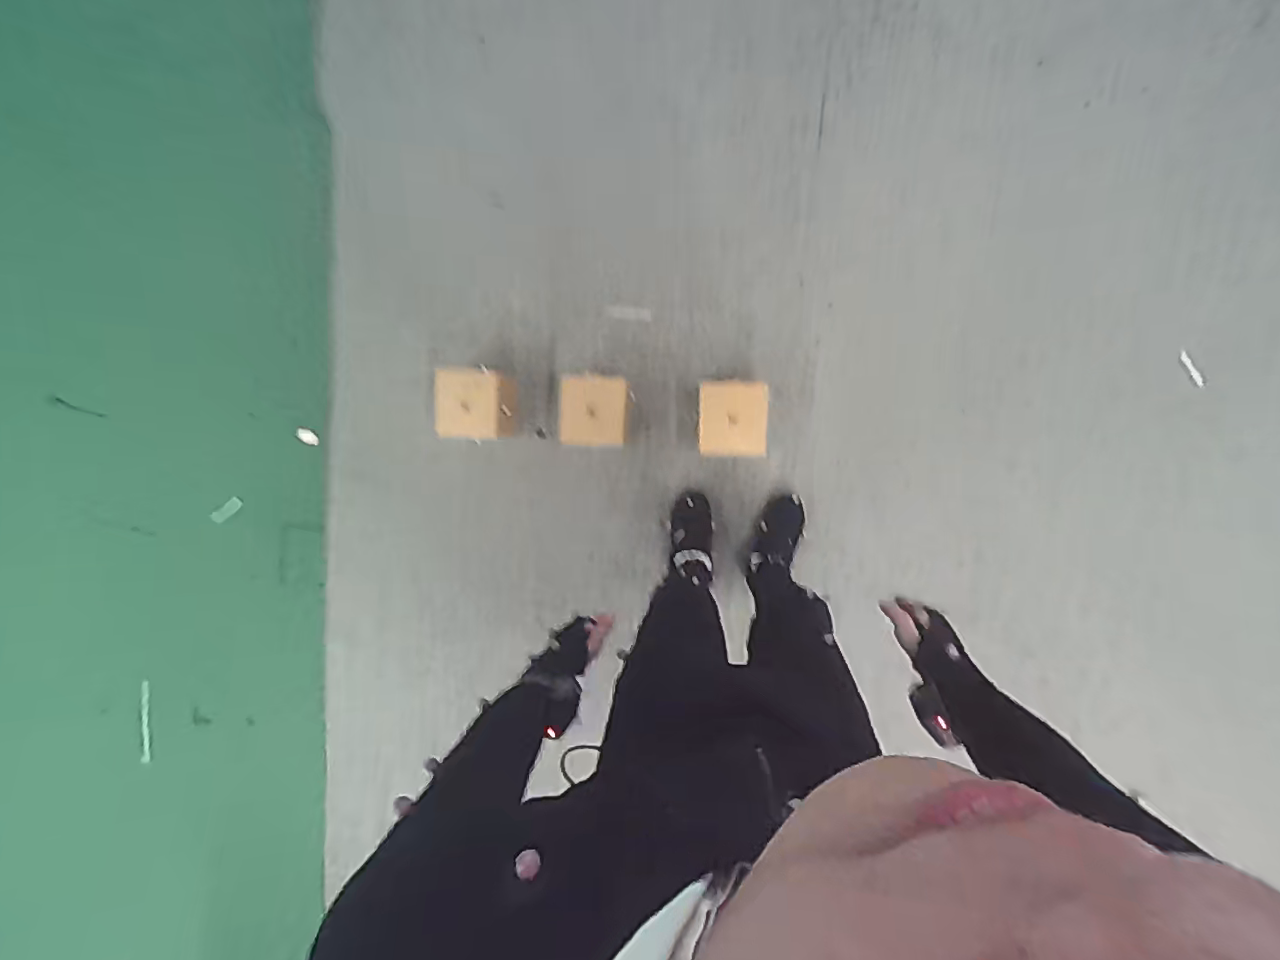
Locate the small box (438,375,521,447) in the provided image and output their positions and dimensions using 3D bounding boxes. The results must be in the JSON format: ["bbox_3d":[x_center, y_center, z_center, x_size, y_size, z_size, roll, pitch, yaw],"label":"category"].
[{"bbox_3d":[-0.432,-0.186,1.471,0.168,0.176,0.179,4,96,6],"label":"small box"}]

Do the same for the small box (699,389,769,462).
[{"bbox_3d":[0.240,-0.140,1.393,0.168,0.176,0.179,1,95,7],"label":"small box"}]

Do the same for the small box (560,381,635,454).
[{"bbox_3d":[-0.107,-0.165,1.434,0.168,0.176,0.179,4,97,7],"label":"small box"}]
